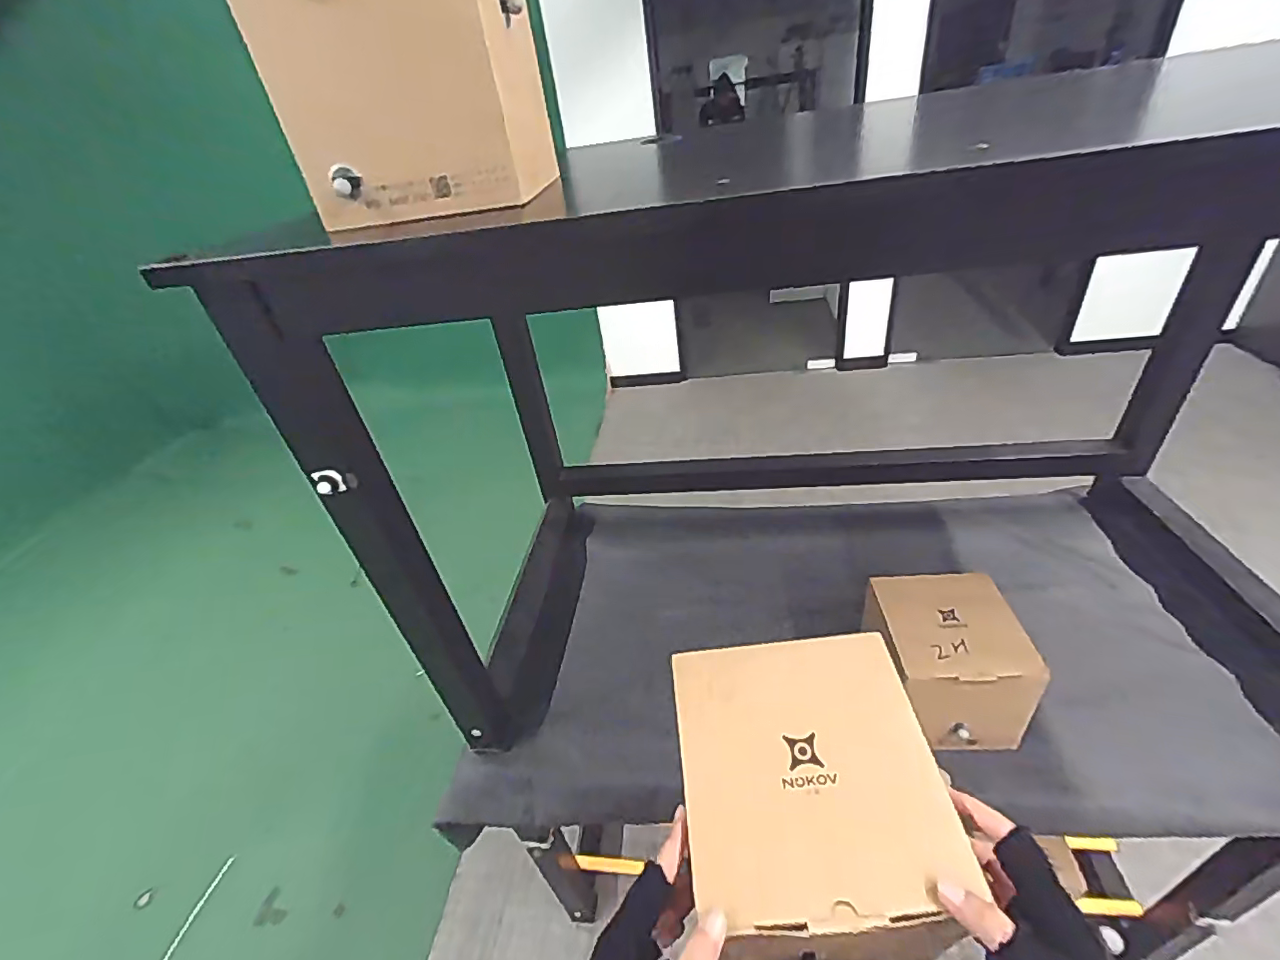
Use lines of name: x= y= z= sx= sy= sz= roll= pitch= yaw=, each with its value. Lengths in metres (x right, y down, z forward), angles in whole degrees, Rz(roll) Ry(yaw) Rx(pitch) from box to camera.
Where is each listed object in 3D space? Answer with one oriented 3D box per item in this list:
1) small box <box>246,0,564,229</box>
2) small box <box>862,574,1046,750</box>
small box: x=-0.168 y=-0.319 z=0.455 sx=0.168 sy=0.176 sz=0.179 roll=-5 pitch=34 yaw=5
small box: x=0.430 y=0.258 z=0.777 sx=0.168 sy=0.176 sz=0.179 roll=-4 pitch=34 yaw=8
